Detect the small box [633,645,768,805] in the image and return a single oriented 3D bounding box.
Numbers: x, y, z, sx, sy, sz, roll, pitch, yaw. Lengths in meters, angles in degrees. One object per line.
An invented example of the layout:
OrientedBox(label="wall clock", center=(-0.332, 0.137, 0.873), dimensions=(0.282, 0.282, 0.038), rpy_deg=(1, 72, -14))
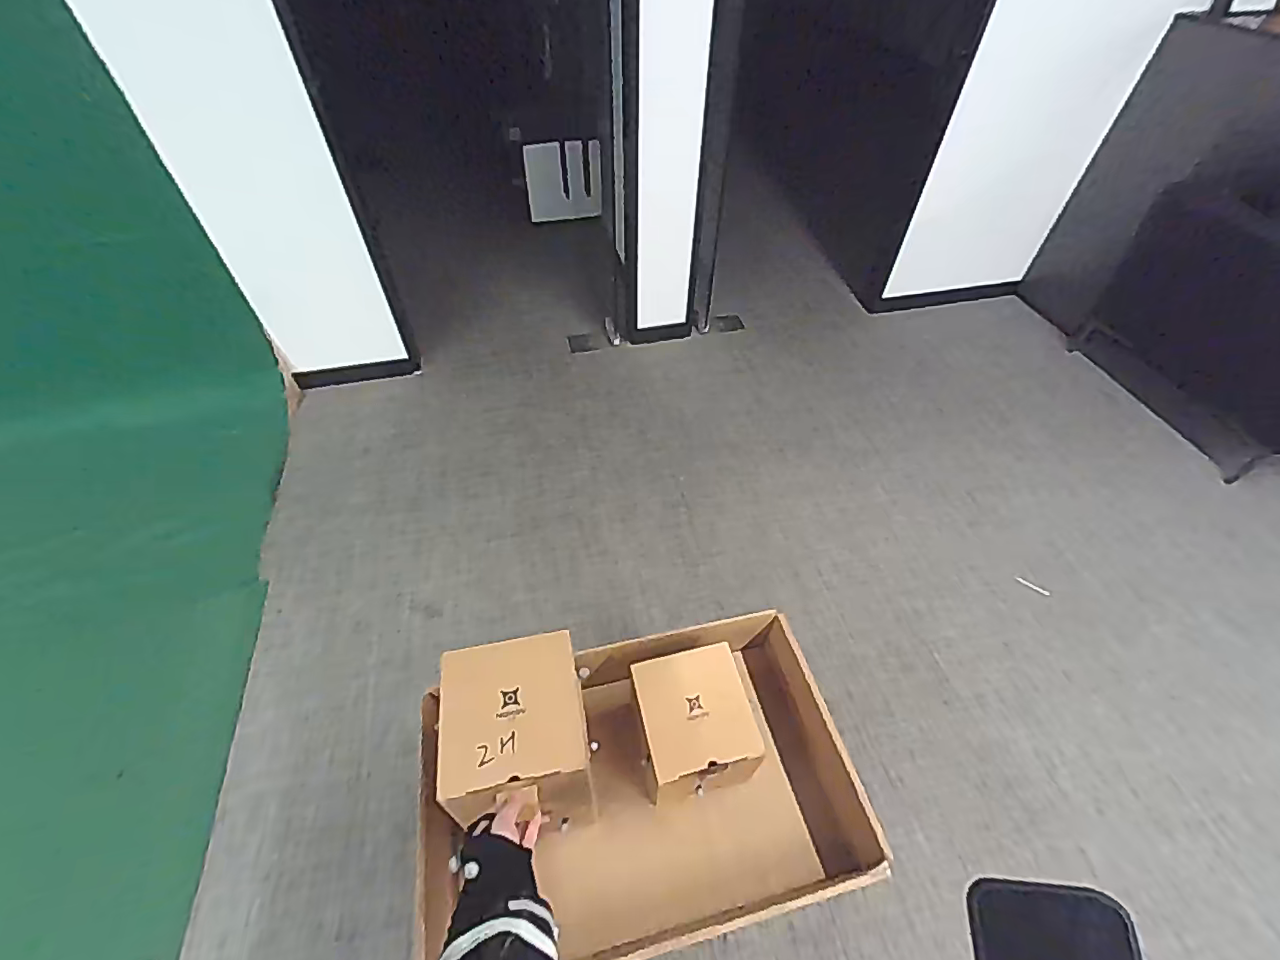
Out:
OrientedBox(label="small box", center=(0.085, 0.397, 0.874), dimensions=(0.168, 0.176, 0.179), rpy_deg=(-11, 51, -8))

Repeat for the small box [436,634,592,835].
OrientedBox(label="small box", center=(-0.157, 0.331, 0.706), dimensions=(0.168, 0.176, 0.179), rpy_deg=(-8, 47, -8))
